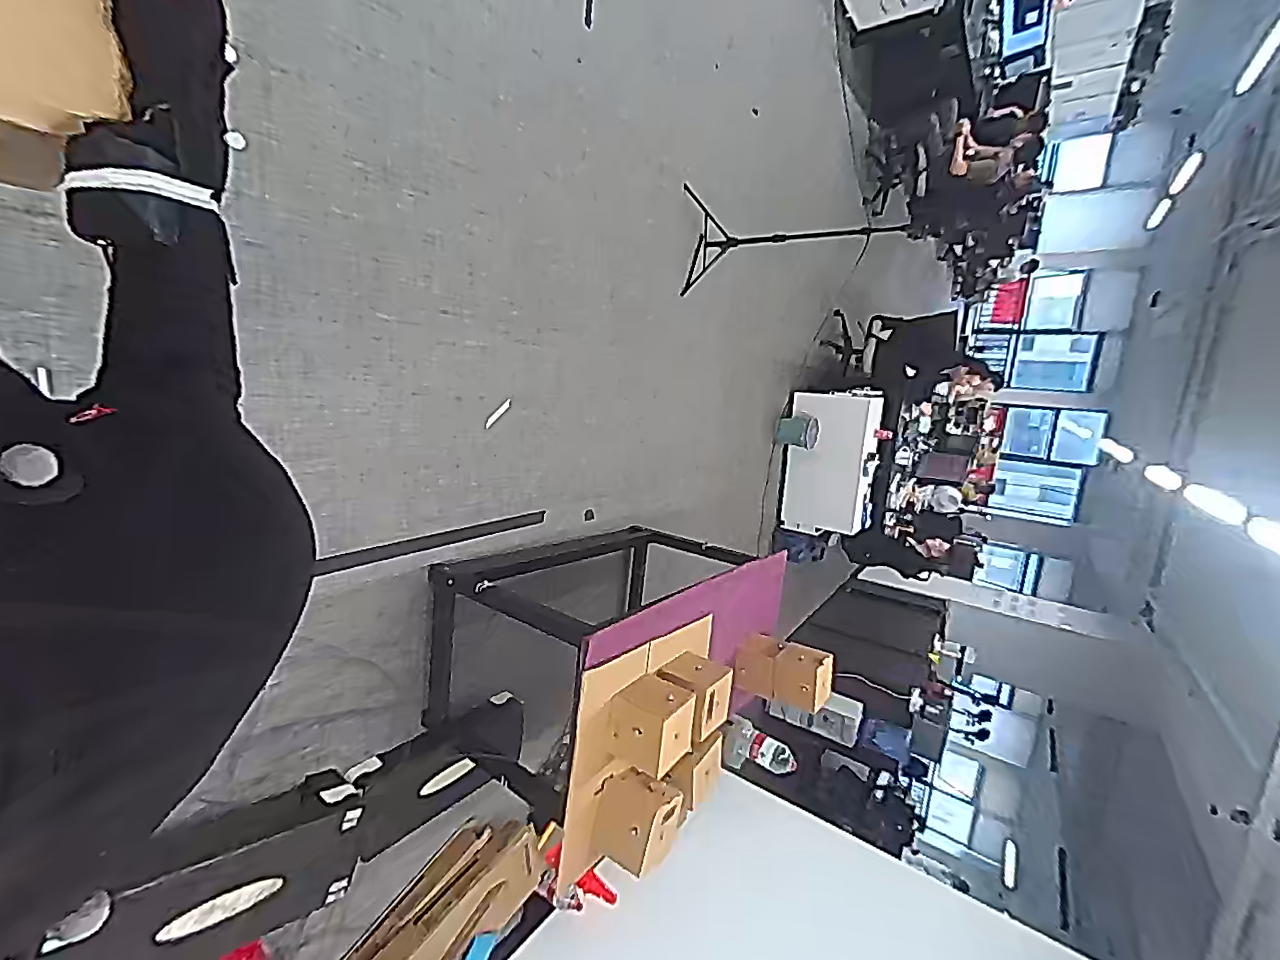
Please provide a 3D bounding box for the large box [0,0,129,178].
[{"bbox_3d":[-0.584,-0.403,0.280,0.408,0.320,0.320,-7,110,-56],"label":"large box"}]
